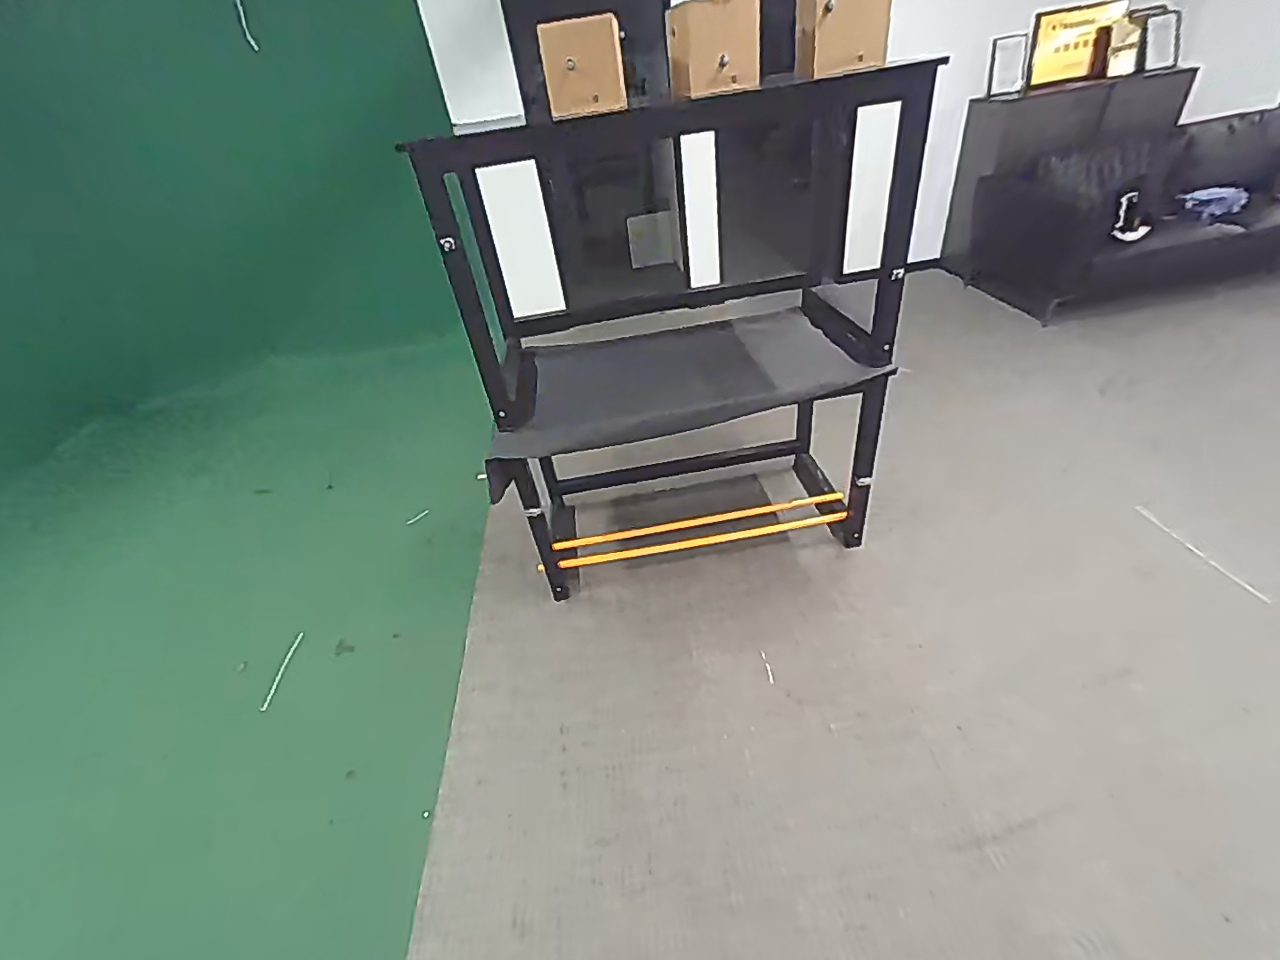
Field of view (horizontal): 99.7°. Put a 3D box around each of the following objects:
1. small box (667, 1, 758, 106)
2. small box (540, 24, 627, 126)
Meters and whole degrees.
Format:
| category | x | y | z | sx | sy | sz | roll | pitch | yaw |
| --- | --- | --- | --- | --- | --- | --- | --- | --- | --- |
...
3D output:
| category | x | y | z | sx | sy | sz | roll | pitch | yaw |
| --- | --- | --- | --- | --- | --- | --- | --- | --- | --- |
| small box | 0.167 | -0.988 | 1.266 | 0.168 | 0.176 | 0.179 | -13 | 36 | -5 |
| small box | -0.124 | -0.946 | 1.274 | 0.168 | 0.176 | 0.179 | -5 | 35 | 5 |
